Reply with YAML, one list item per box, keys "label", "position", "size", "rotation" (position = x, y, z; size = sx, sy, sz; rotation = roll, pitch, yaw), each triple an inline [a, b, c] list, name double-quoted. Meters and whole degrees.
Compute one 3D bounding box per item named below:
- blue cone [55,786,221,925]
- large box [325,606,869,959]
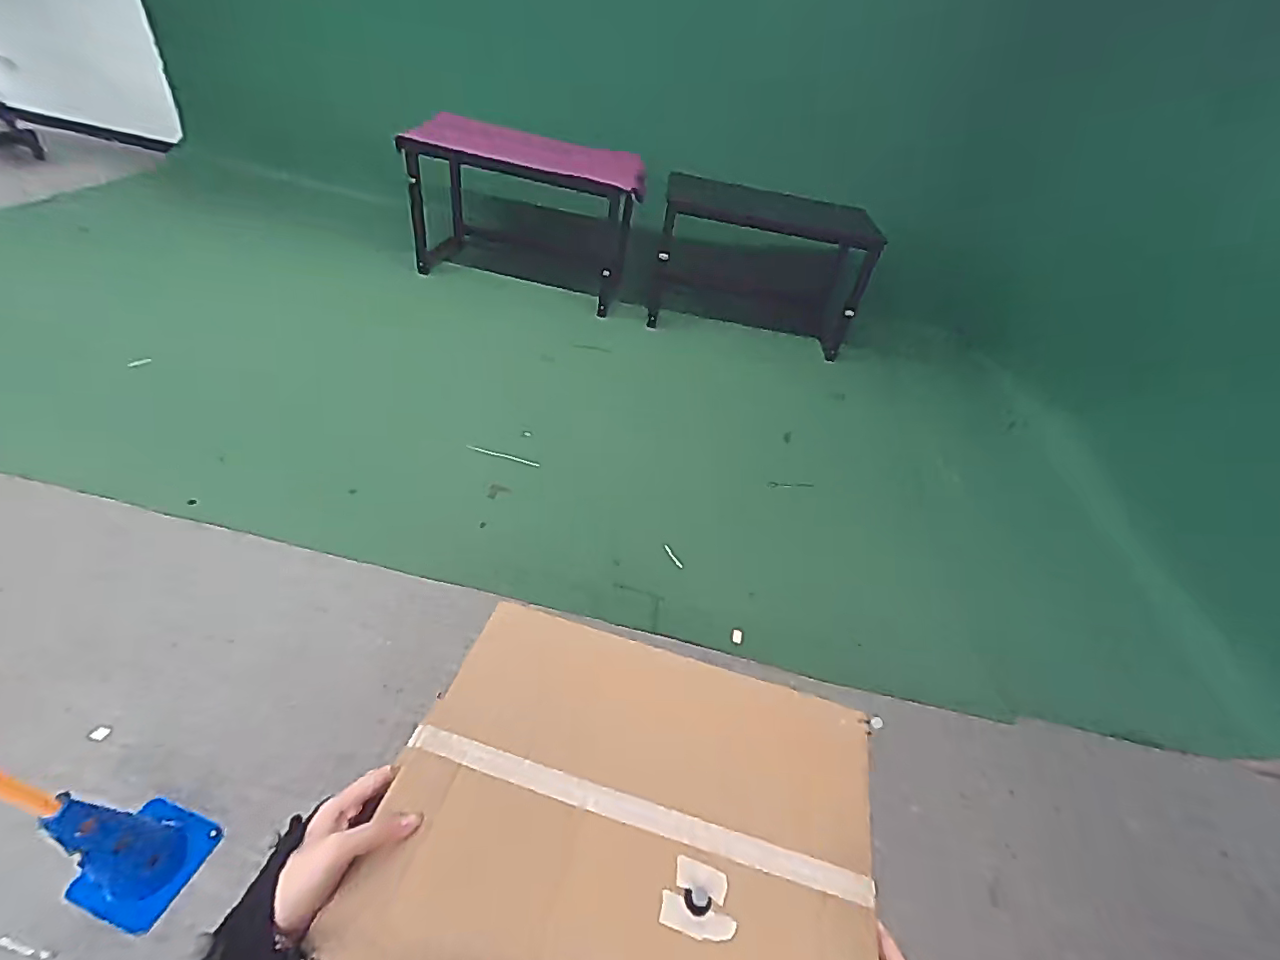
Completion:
- label: "blue cone"
  position: [-1.008, 0.684, 1.035]
  size: [0.193, 0.380, 0.192]
  rotation: [20, 41, 8]
- label: "large box"
  position: [-0.019, 0.393, 0.573]
  size: [0.408, 0.320, 0.320]
  rotation: [15, 43, 8]
